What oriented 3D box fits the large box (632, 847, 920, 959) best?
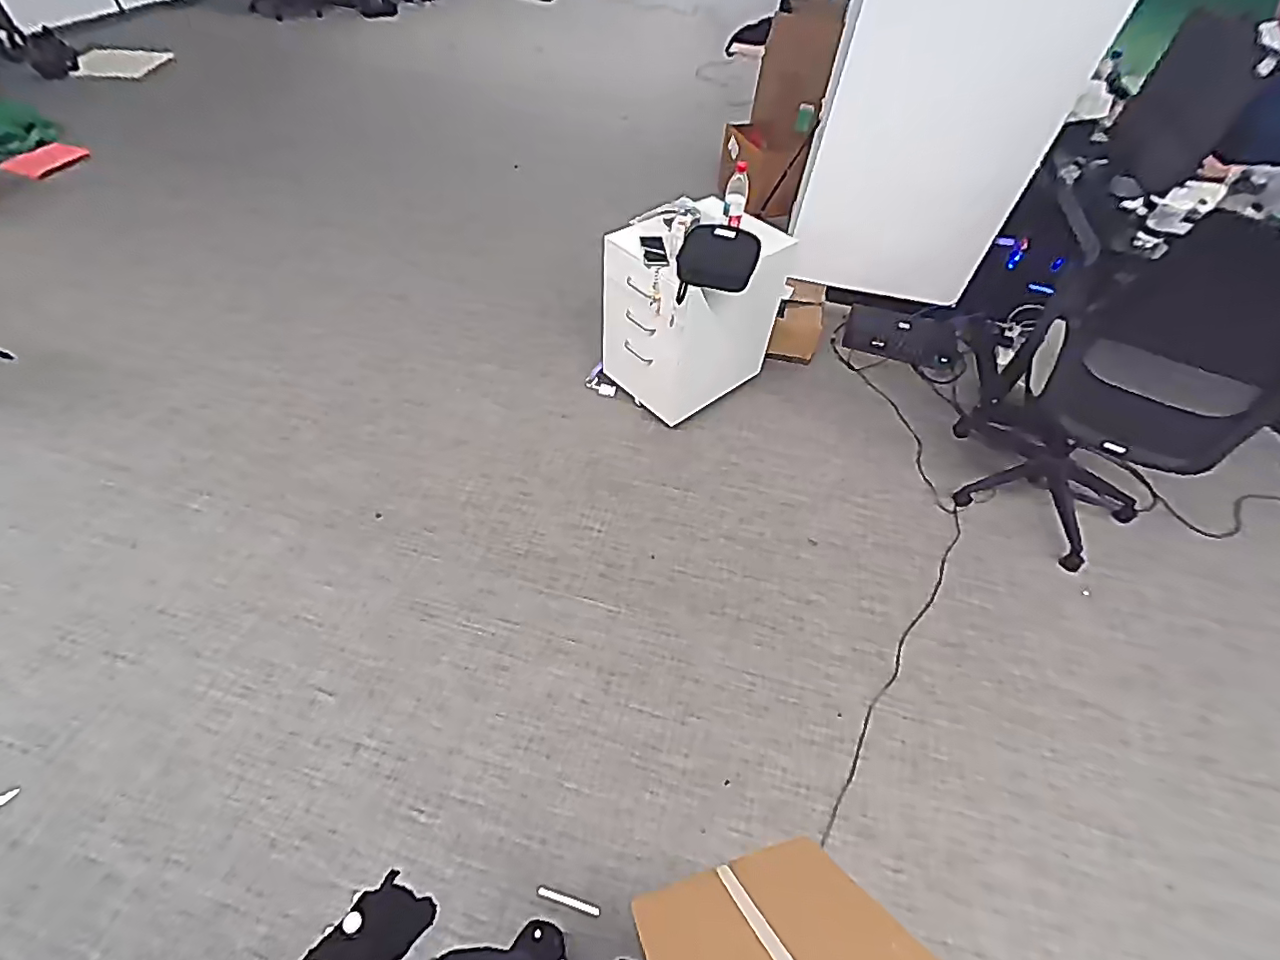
[{"bbox_3d":[0.203,0.758,0.668,0.320,0.408,0.320,-11,84,-14],"label":"large box"}]
